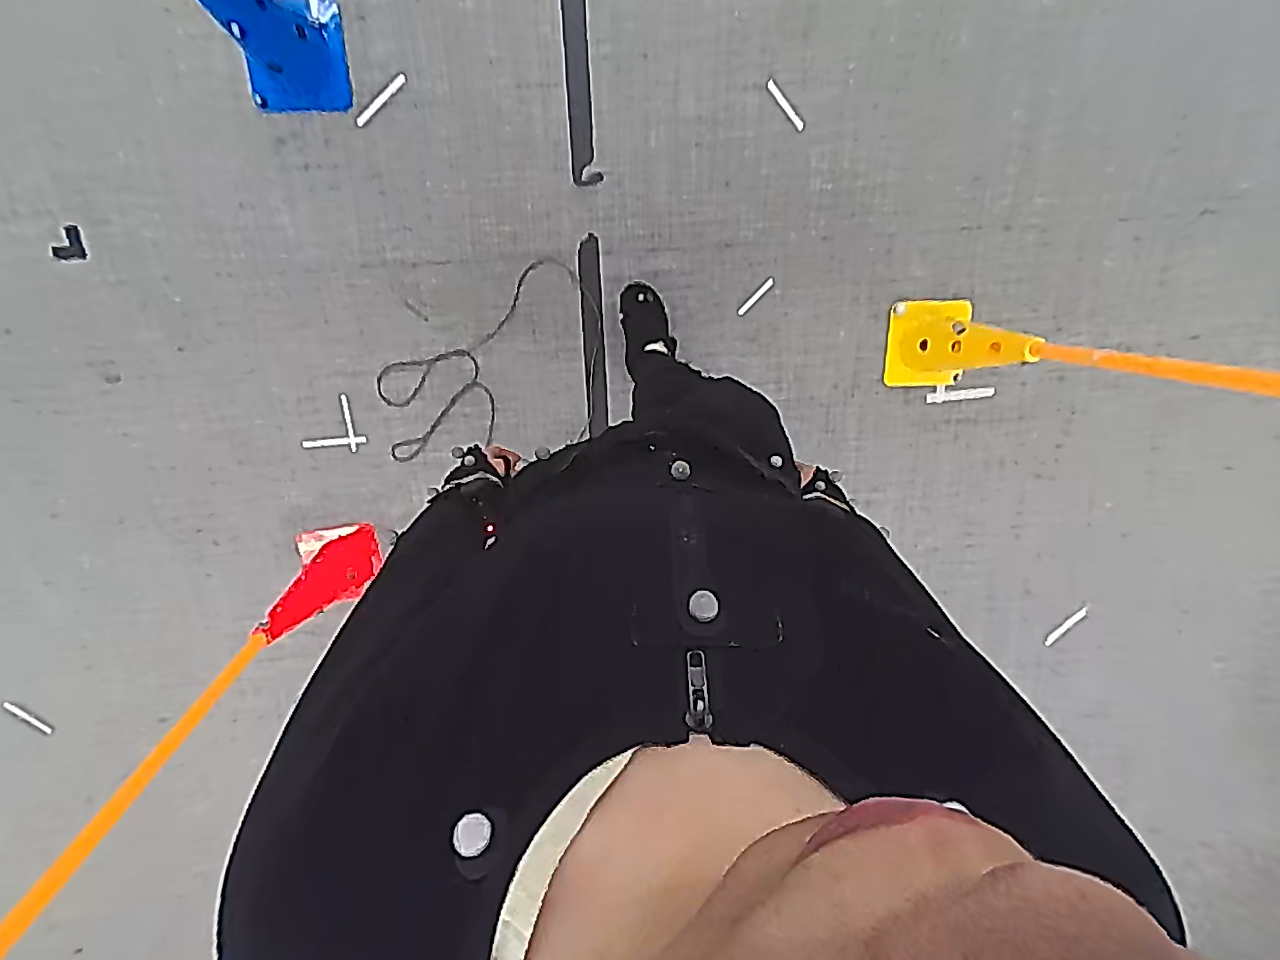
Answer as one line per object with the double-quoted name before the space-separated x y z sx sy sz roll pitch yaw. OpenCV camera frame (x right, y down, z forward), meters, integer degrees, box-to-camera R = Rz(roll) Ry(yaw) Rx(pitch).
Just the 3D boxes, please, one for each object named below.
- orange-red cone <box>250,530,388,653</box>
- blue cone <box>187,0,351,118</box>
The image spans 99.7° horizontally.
"orange-red cone" -0.750 0.272 1.217 0.199 0.360 0.198 -9 106 -2
"blue cone" -0.690 -0.803 0.943 0.193 0.380 0.192 -1 106 -2
